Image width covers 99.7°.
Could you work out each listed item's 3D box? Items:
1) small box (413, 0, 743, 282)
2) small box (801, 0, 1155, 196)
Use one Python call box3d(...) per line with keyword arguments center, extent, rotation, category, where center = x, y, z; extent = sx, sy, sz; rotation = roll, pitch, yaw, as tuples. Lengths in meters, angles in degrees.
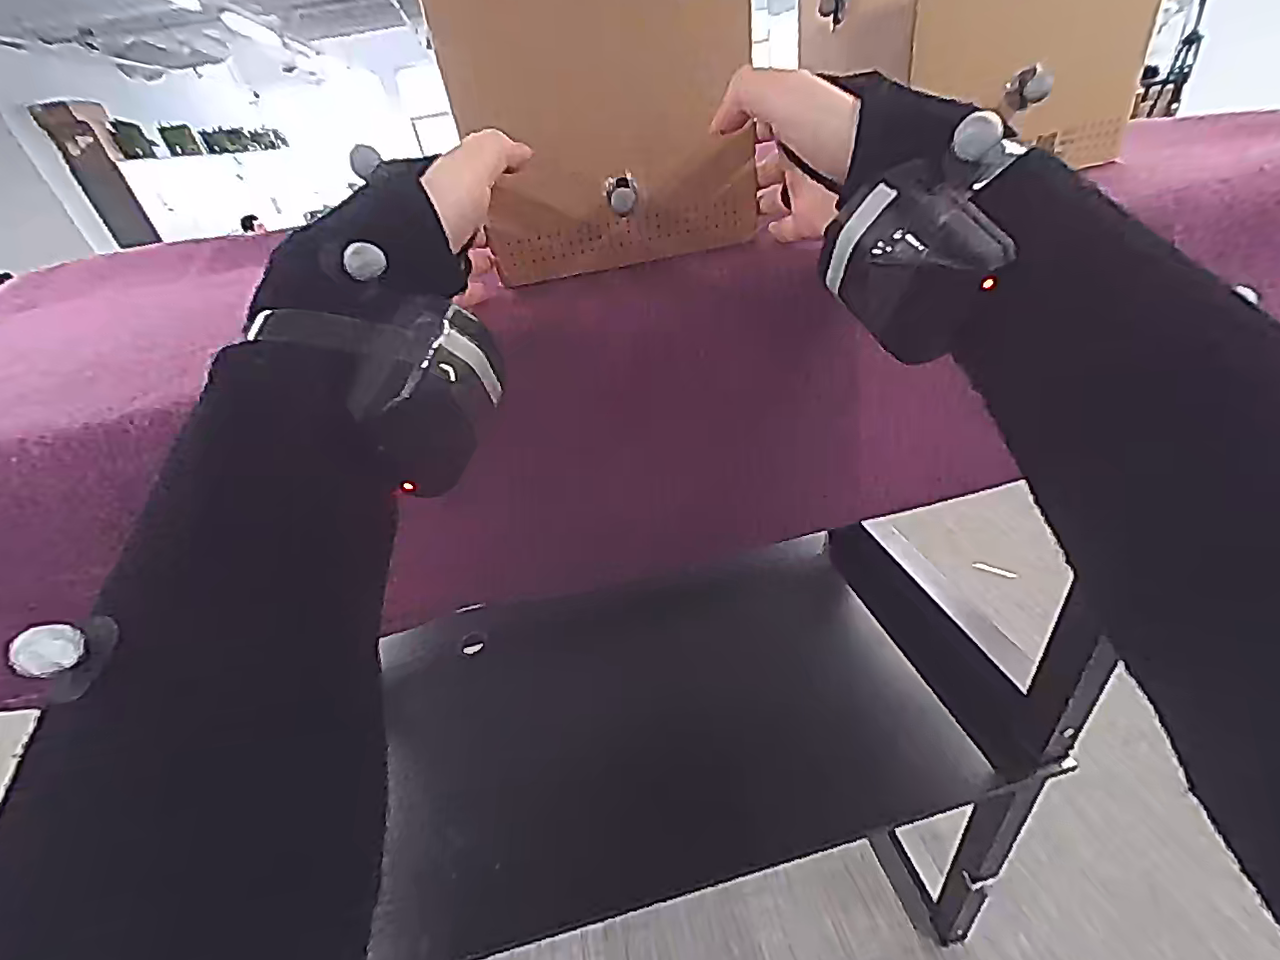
box3d(center=(-0.033, -0.250, 0.372), extent=(0.179, 0.176, 0.168), rotation=(-12, 33, -3), category="small box")
box3d(center=(0.226, -0.319, 0.399), extent=(0.168, 0.176, 0.179), rotation=(-13, 33, -2), category="small box")
